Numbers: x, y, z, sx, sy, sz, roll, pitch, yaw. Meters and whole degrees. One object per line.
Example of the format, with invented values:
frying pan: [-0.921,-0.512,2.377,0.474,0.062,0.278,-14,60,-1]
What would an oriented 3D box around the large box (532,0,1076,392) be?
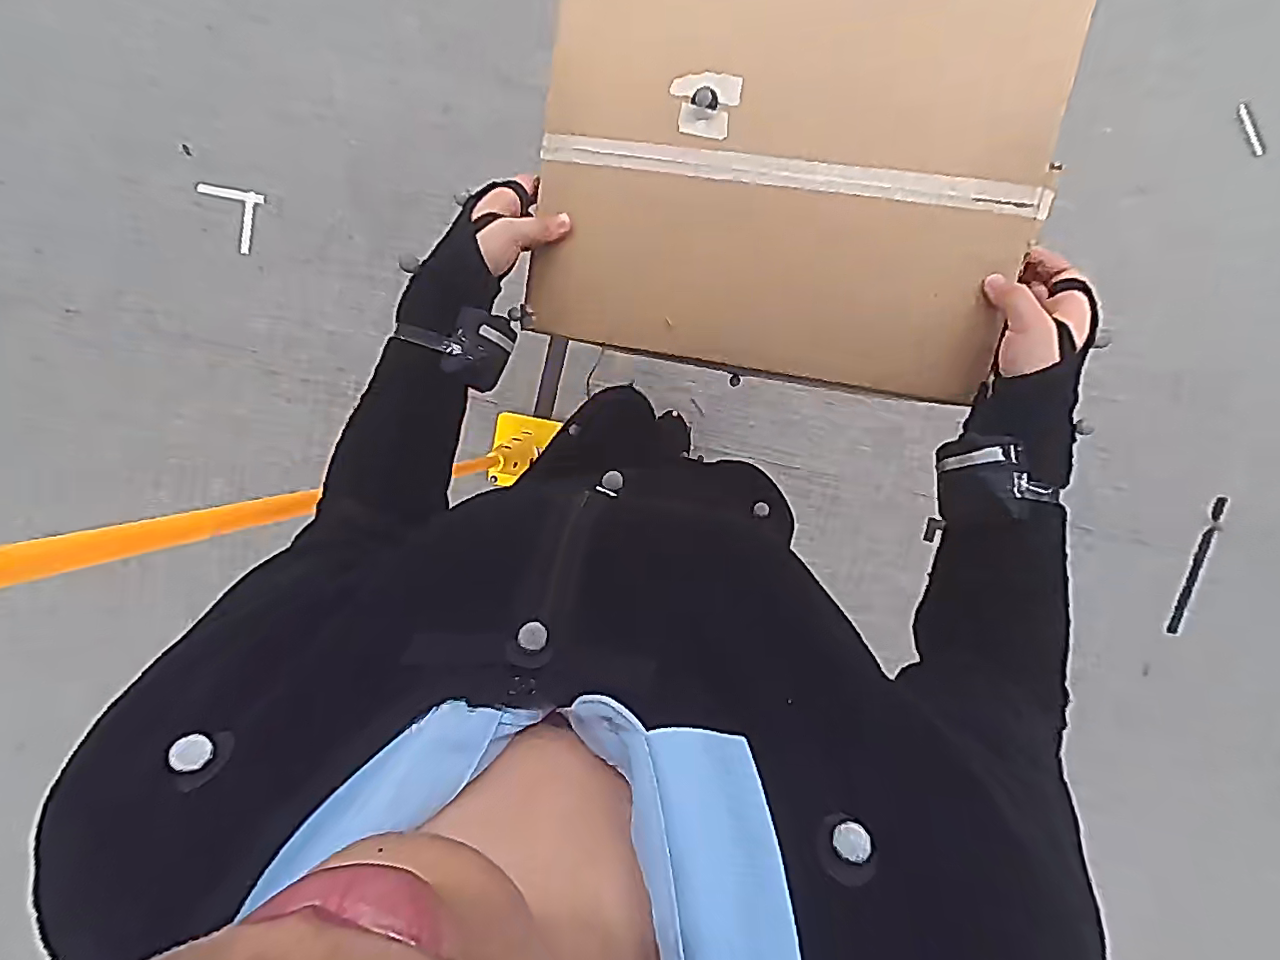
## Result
large box: [0.140,-0.281,0.600,0.408,0.320,0.320,11,101,9]
